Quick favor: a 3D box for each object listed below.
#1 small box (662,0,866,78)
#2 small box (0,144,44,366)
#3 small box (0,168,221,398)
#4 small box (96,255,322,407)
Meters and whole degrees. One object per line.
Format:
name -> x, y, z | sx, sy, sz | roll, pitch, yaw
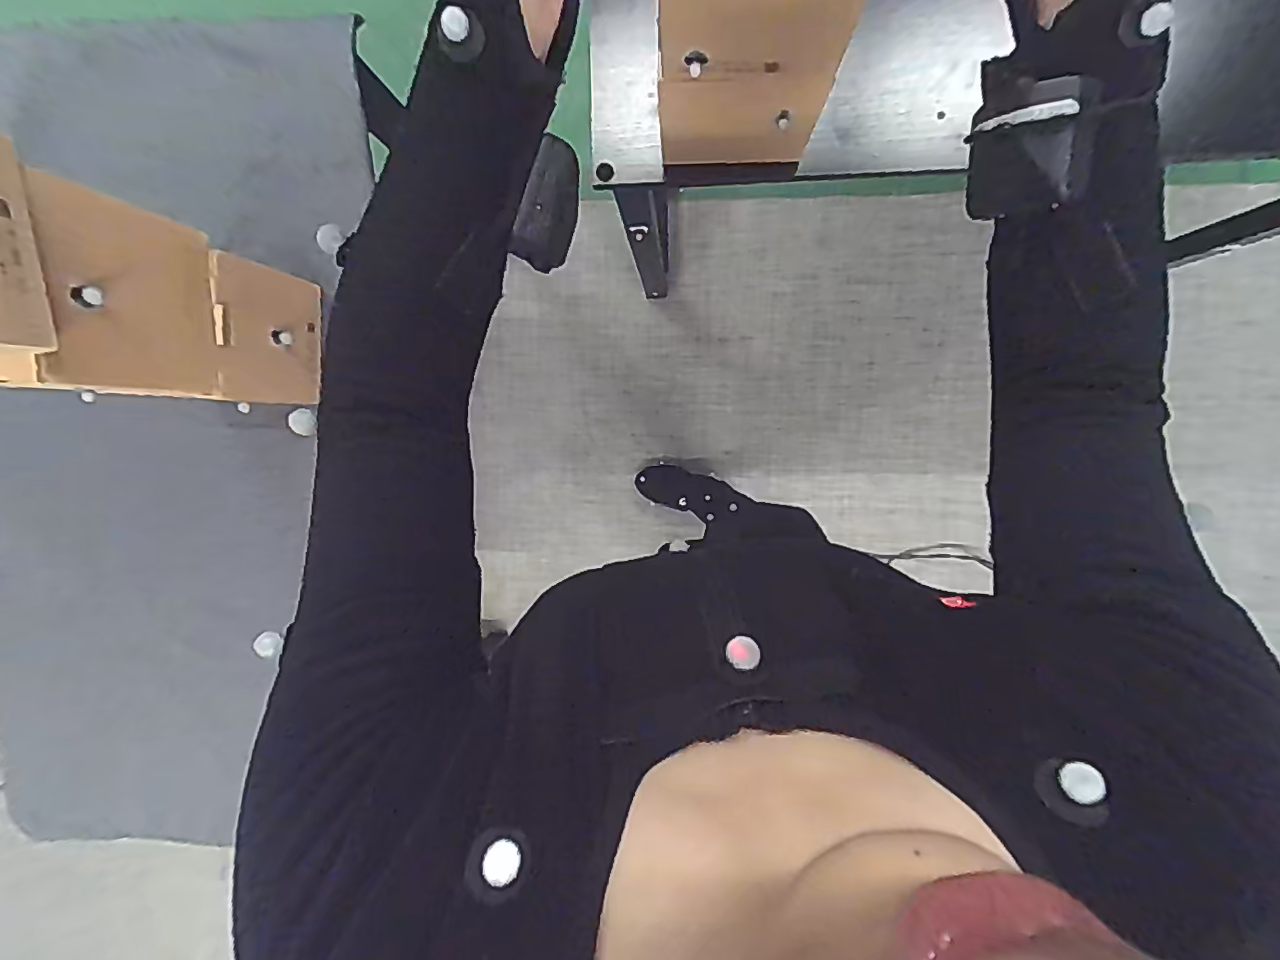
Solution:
small box -> 0.104, -0.459, 0.429 | 0.168, 0.176, 0.179 | 3, 96, 4
small box -> -0.562, -0.162, 0.358 | 0.179, 0.176, 0.168 | -6, 96, 7
small box -> -0.551, -0.173, 0.522 | 0.168, 0.176, 0.179 | 2, 97, 7
small box -> -0.533, -0.181, 0.684 | 0.179, 0.176, 0.168 | 4, 97, 6
